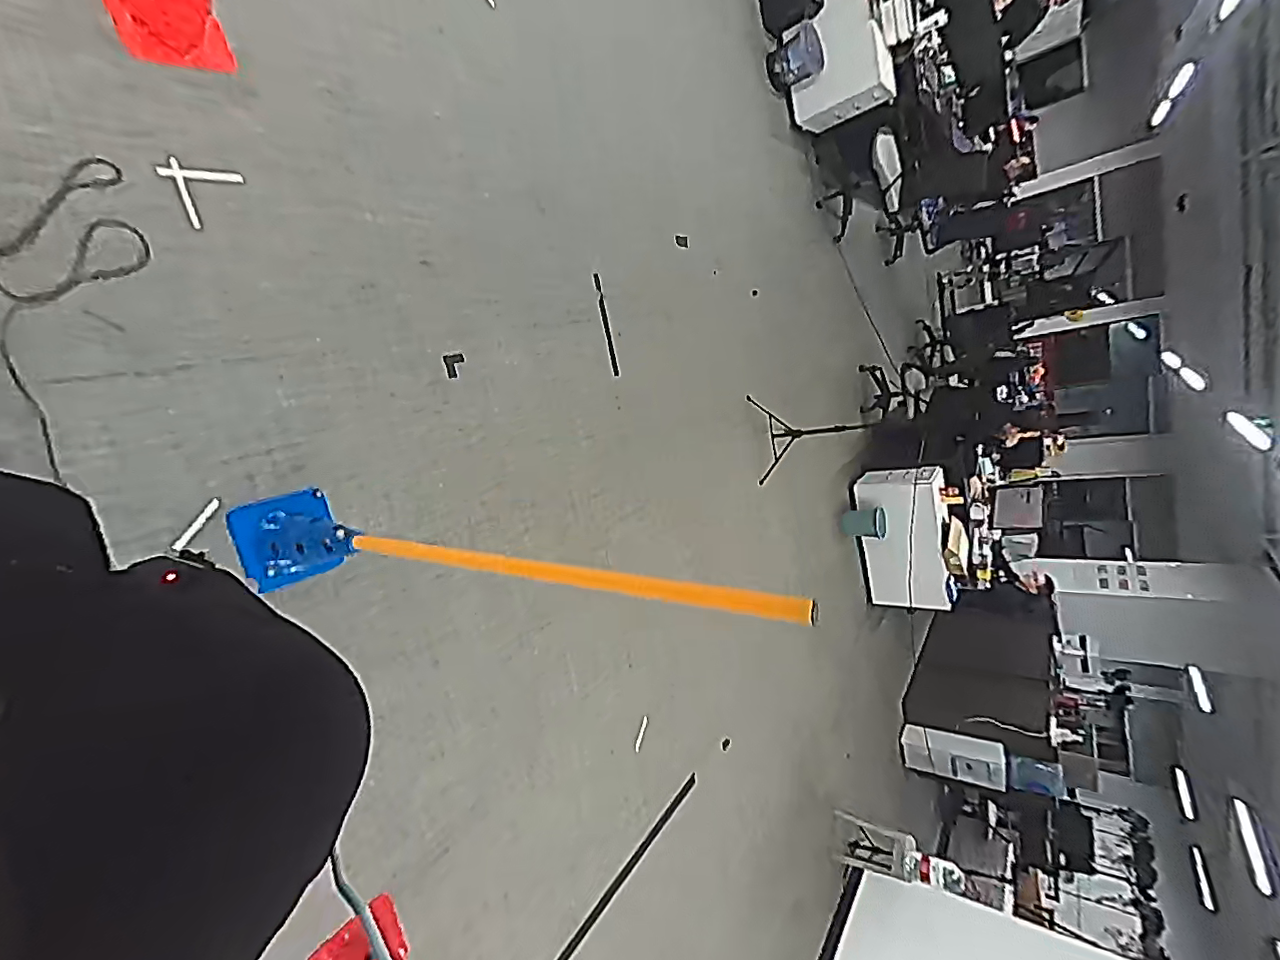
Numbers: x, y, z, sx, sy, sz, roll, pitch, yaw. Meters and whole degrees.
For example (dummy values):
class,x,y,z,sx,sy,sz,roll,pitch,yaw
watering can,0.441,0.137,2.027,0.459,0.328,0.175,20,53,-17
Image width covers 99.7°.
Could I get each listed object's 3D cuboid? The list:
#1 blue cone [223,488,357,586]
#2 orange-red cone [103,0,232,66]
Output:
class,x,y,z,sx,sy,sz,roll,pitch,yaw
blue cone,-0.680,0.118,1.116,0.193,0.380,0.192,-22,103,-50
orange-red cone,-0.844,-0.974,0.991,0.199,0.360,0.198,-32,111,-46
